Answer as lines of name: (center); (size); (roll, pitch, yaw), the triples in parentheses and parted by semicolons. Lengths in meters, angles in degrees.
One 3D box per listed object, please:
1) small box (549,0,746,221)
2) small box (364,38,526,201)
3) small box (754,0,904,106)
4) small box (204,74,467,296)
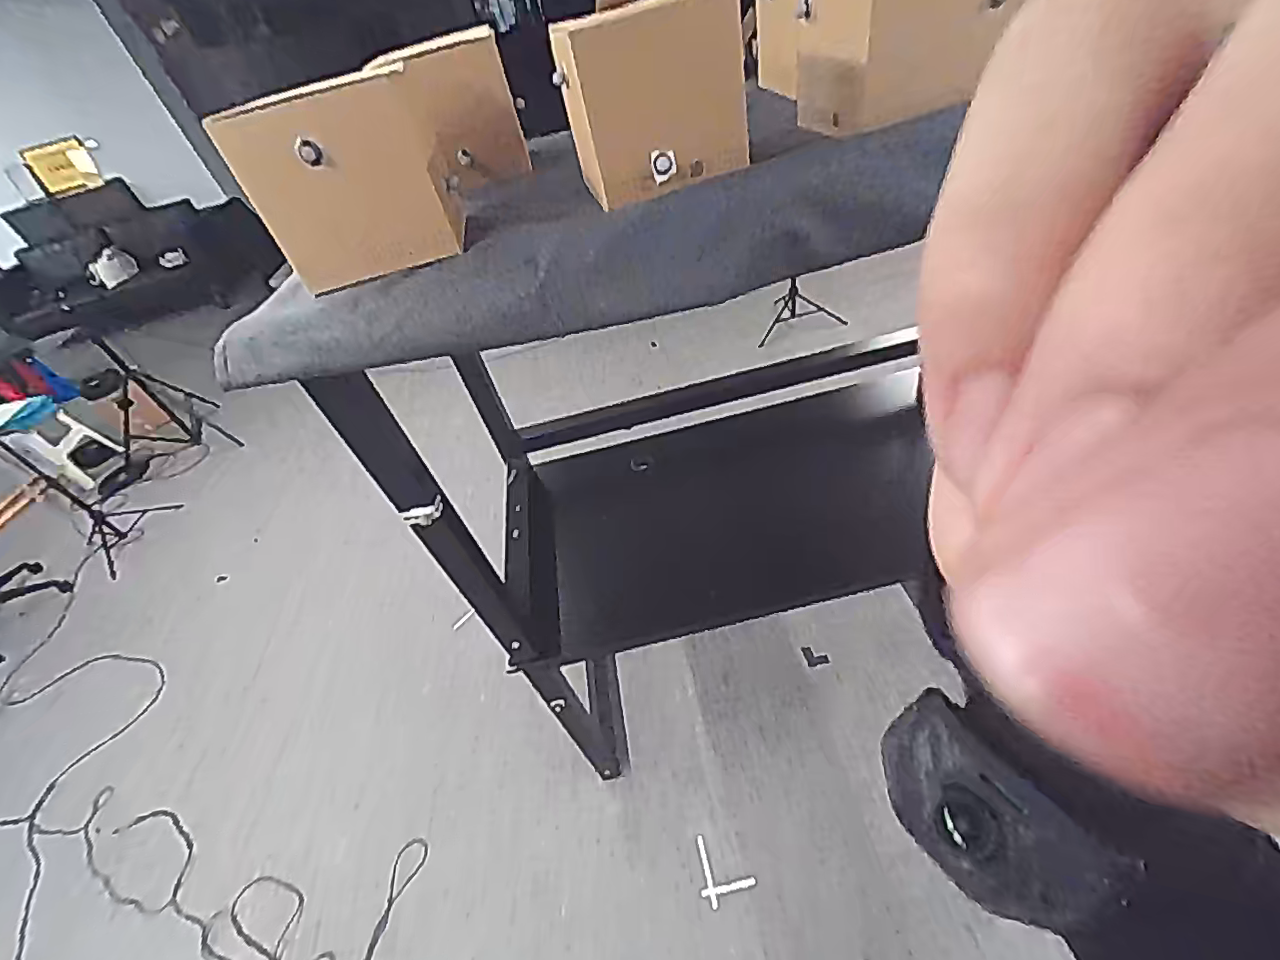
small box: (0.008, -0.410, 0.601); (0.168, 0.176, 0.179); (-18, 41, -2)
small box: (-0.276, -0.536, 0.815); (0.179, 0.176, 0.168); (-15, 43, -1)
small box: (0.281, -0.689, 0.815); (0.168, 0.176, 0.179); (-16, 43, 1)
small box: (-0.313, -0.326, 0.602); (0.179, 0.176, 0.168); (-17, 42, -2)
